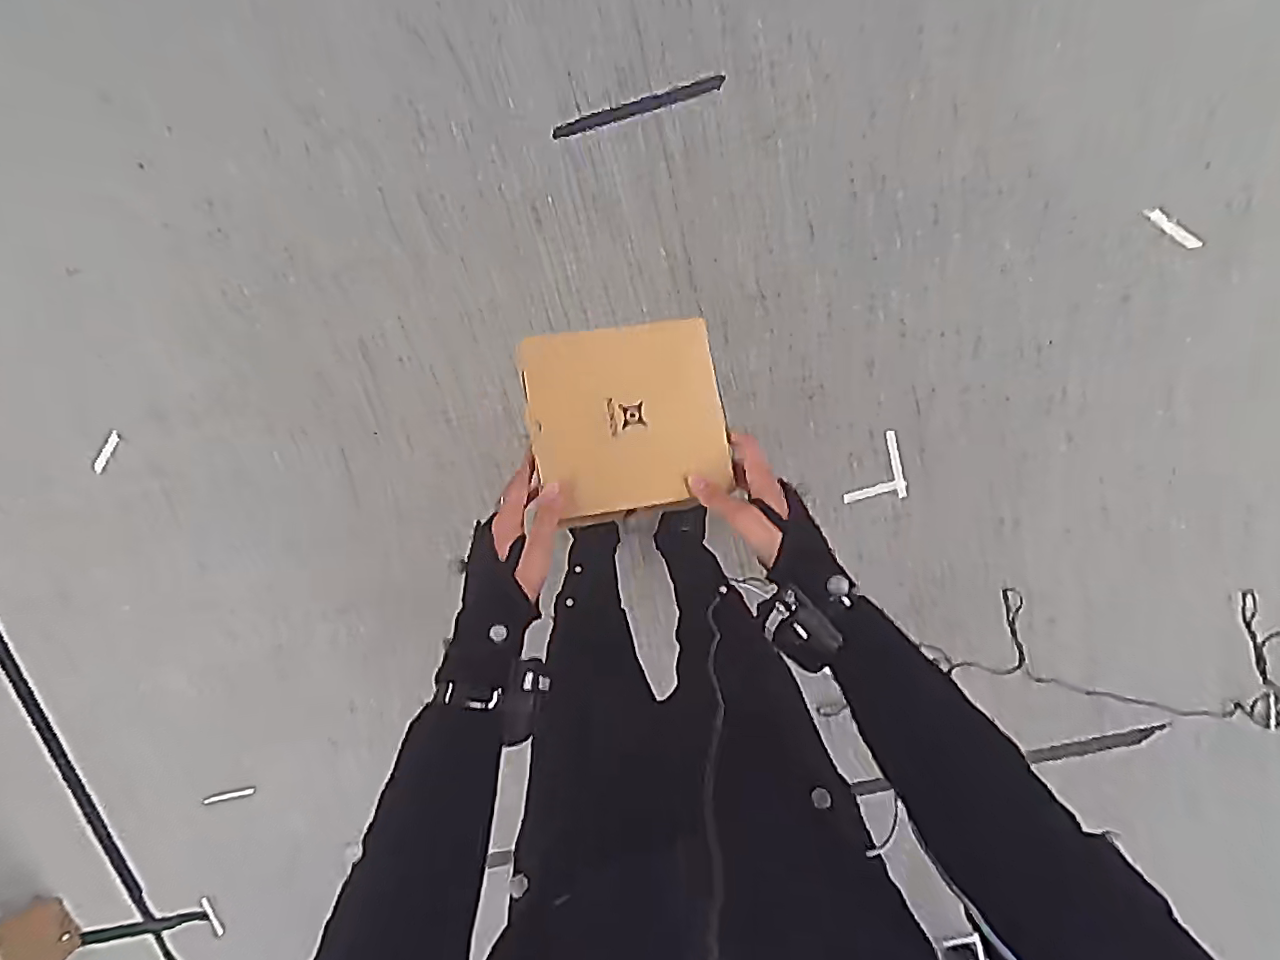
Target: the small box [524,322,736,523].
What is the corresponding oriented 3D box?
[{"bbox_3d":[-0.020,-0.049,0.562,0.179,0.176,0.168,-8,85,-9],"label":"small box"}]
